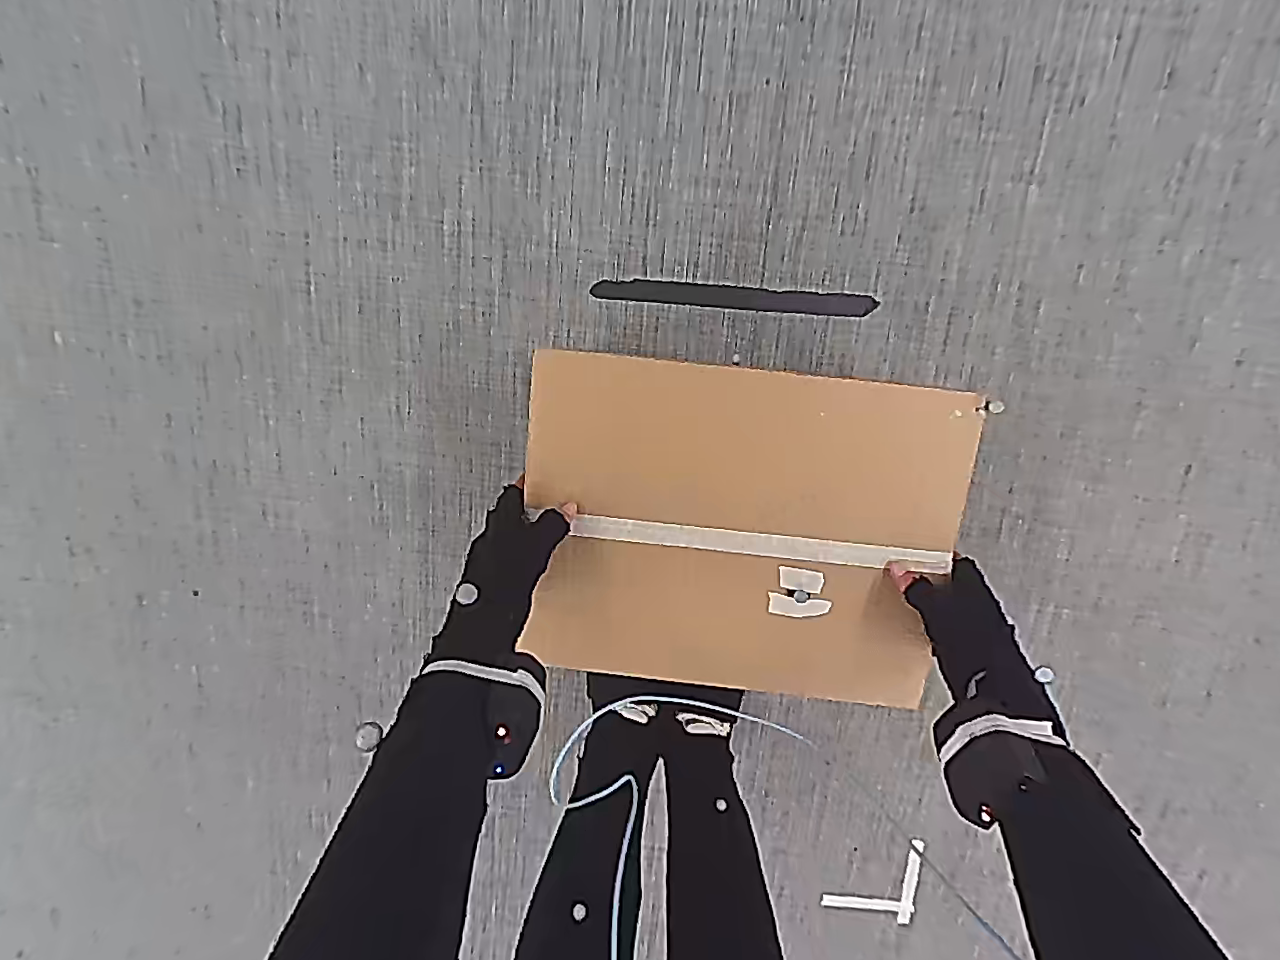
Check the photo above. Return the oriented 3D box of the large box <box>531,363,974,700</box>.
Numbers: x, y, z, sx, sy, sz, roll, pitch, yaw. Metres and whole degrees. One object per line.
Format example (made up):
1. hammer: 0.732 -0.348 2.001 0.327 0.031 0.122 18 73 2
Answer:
1. large box: 0.100 0.031 0.669 0.408 0.320 0.320 6 102 1
